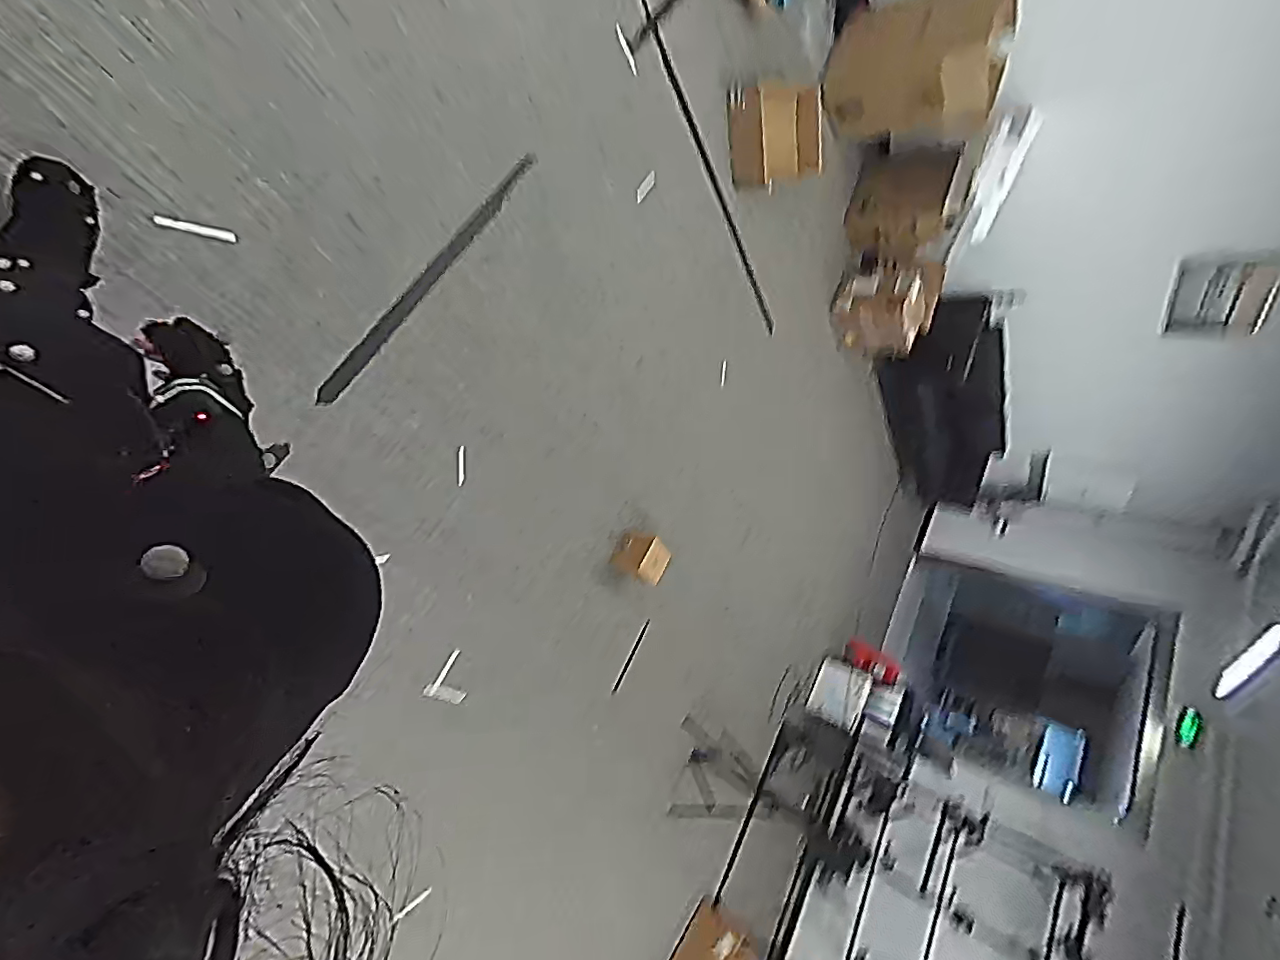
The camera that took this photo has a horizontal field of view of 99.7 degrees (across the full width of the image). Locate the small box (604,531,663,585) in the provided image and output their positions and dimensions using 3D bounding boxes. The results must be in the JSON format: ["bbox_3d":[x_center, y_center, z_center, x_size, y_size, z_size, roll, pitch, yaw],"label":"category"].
[{"bbox_3d":[-0.029,0.349,2.456,0.168,0.176,0.179,-60,138,-22],"label":"small box"}]
